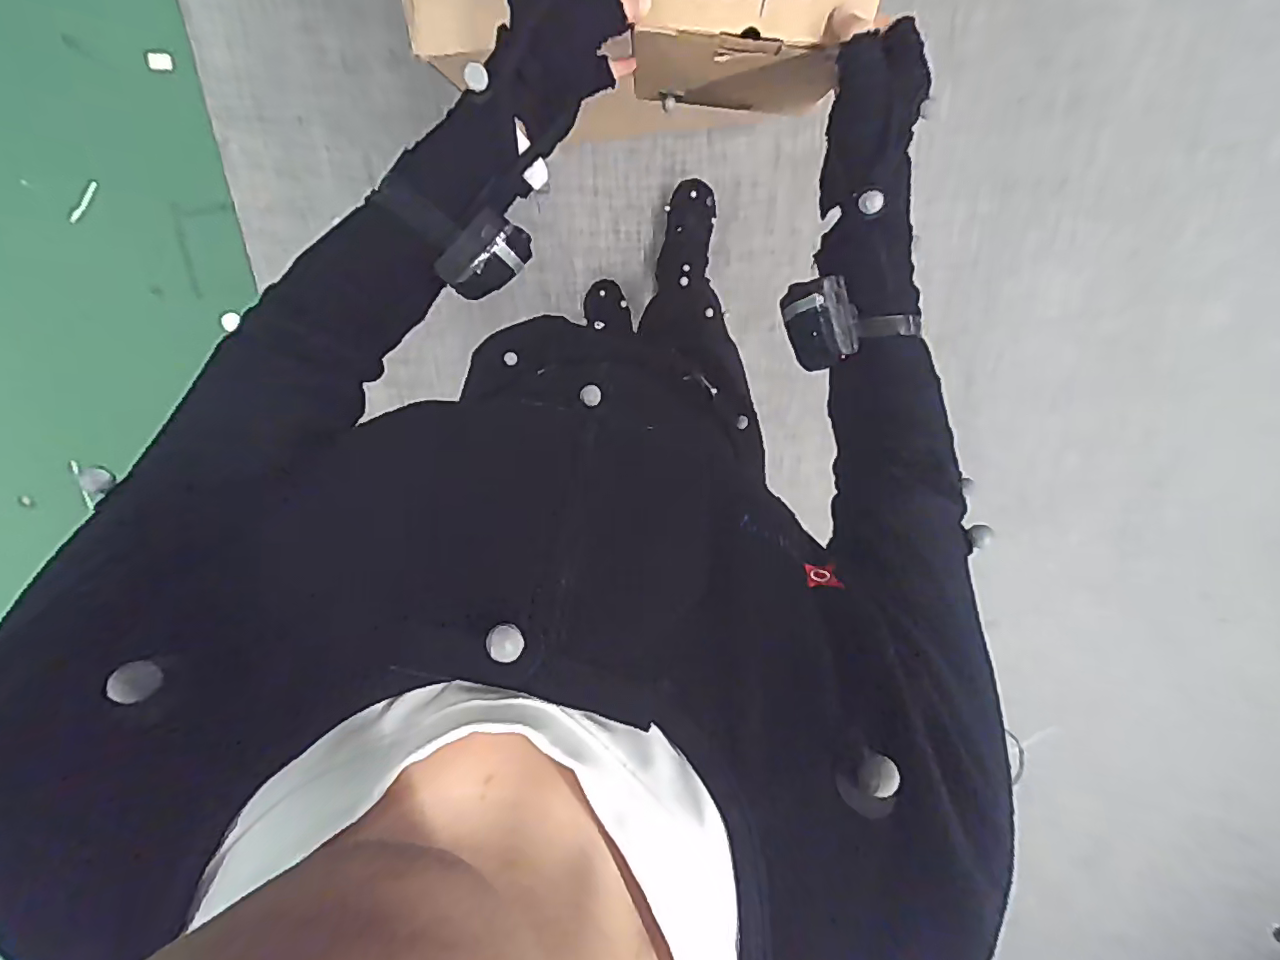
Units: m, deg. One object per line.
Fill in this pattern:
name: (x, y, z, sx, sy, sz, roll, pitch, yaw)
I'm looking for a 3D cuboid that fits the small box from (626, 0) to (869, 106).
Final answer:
small box: (0.082, -0.415, 0.415, 0.168, 0.176, 0.179, 6, 110, -1)
